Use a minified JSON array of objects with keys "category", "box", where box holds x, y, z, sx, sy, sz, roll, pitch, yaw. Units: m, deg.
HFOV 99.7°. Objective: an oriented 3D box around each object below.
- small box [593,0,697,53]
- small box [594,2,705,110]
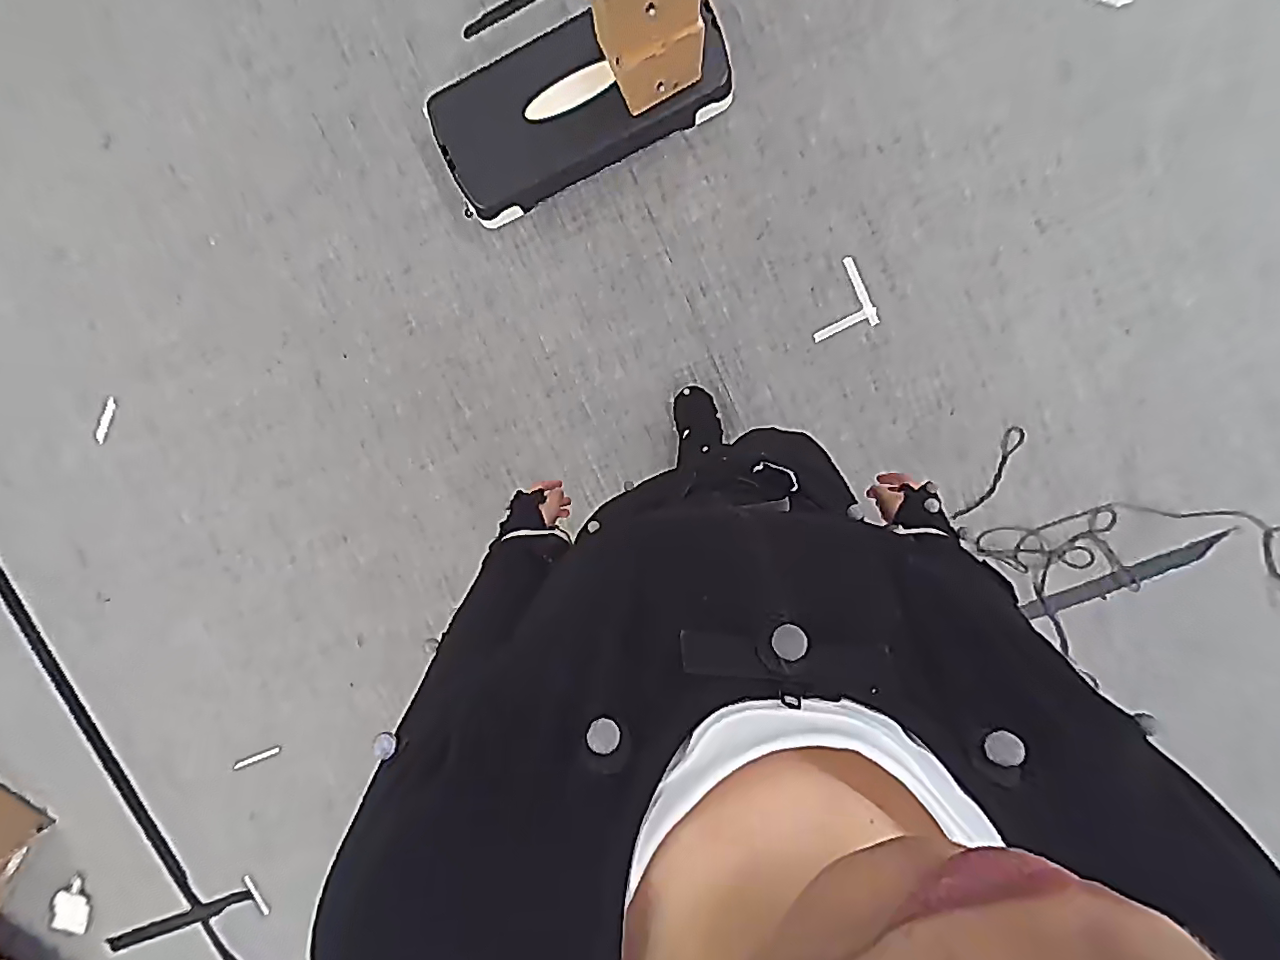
[{"category":"small box","box":[-0.003,-0.887,0.918,0.179,0.176,0.168,-20,97,6]},{"category":"small box","box":[0.015,-0.899,1.081,0.168,0.176,0.179,-26,97,6]}]
